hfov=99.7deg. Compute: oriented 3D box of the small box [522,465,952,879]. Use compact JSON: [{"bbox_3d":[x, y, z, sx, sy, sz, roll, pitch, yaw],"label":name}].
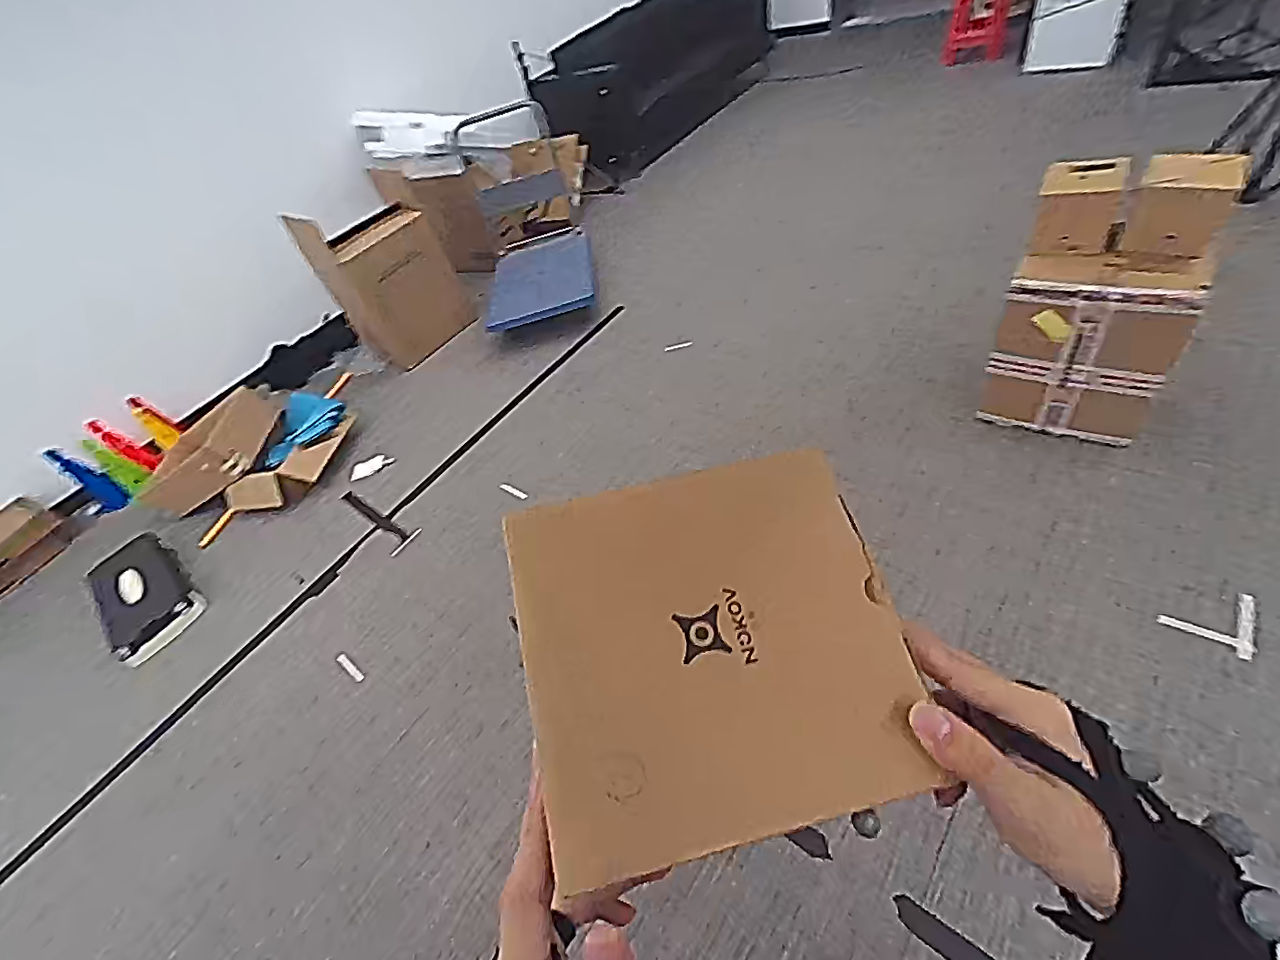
[{"bbox_3d":[0.038,0.115,0.336,0.179,0.176,0.168,-12,64,-6],"label":"small box"}]
